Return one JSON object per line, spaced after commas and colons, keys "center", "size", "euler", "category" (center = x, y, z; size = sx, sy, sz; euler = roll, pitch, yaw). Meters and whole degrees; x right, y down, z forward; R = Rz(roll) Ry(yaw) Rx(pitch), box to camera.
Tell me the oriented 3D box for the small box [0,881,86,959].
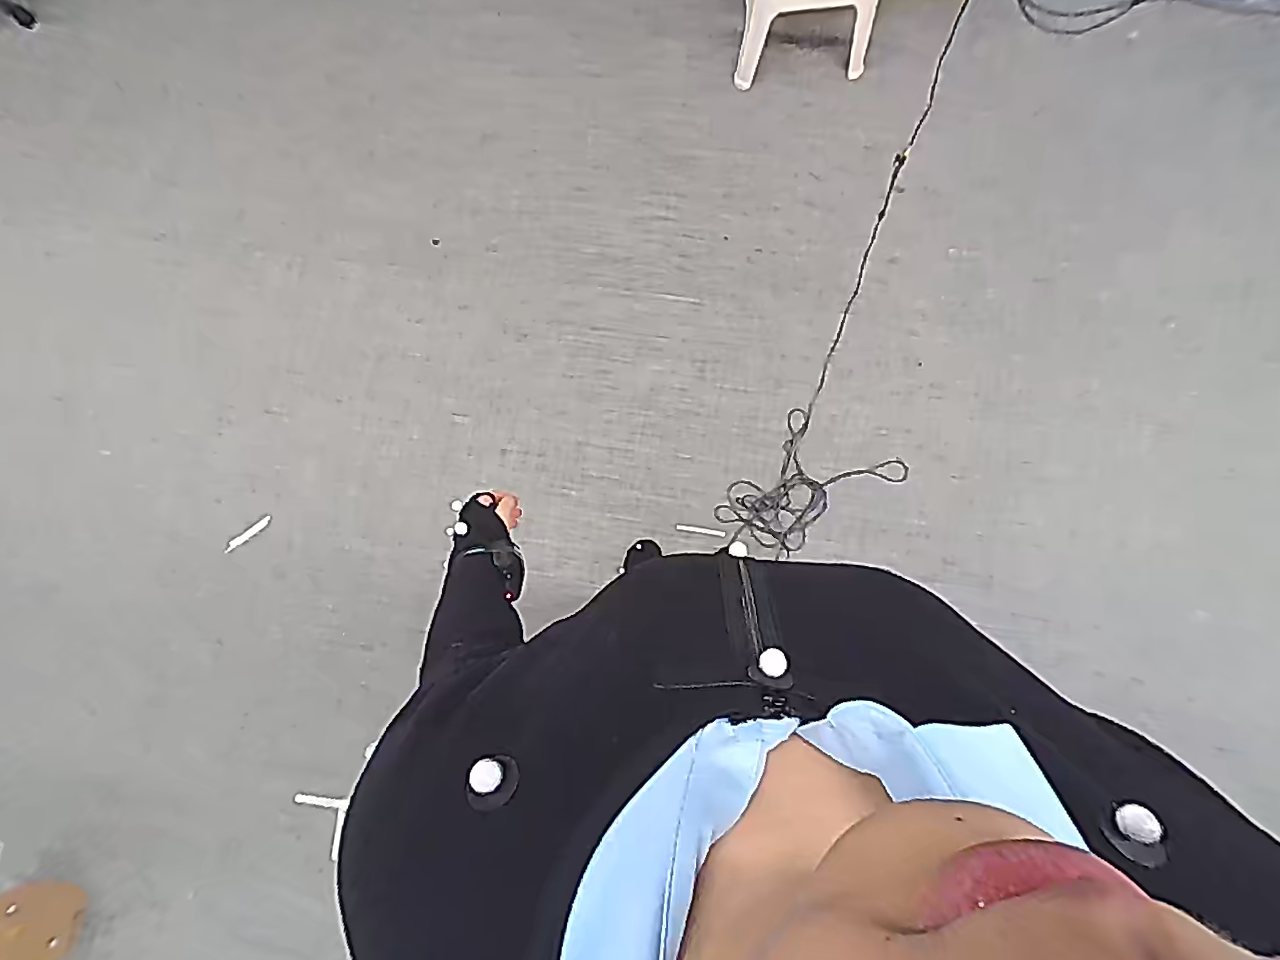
{"center": [-1.616, 1.186, 1.405], "size": [0.179, 0.176, 0.168], "euler": [6, 83, 4], "category": "small box"}
